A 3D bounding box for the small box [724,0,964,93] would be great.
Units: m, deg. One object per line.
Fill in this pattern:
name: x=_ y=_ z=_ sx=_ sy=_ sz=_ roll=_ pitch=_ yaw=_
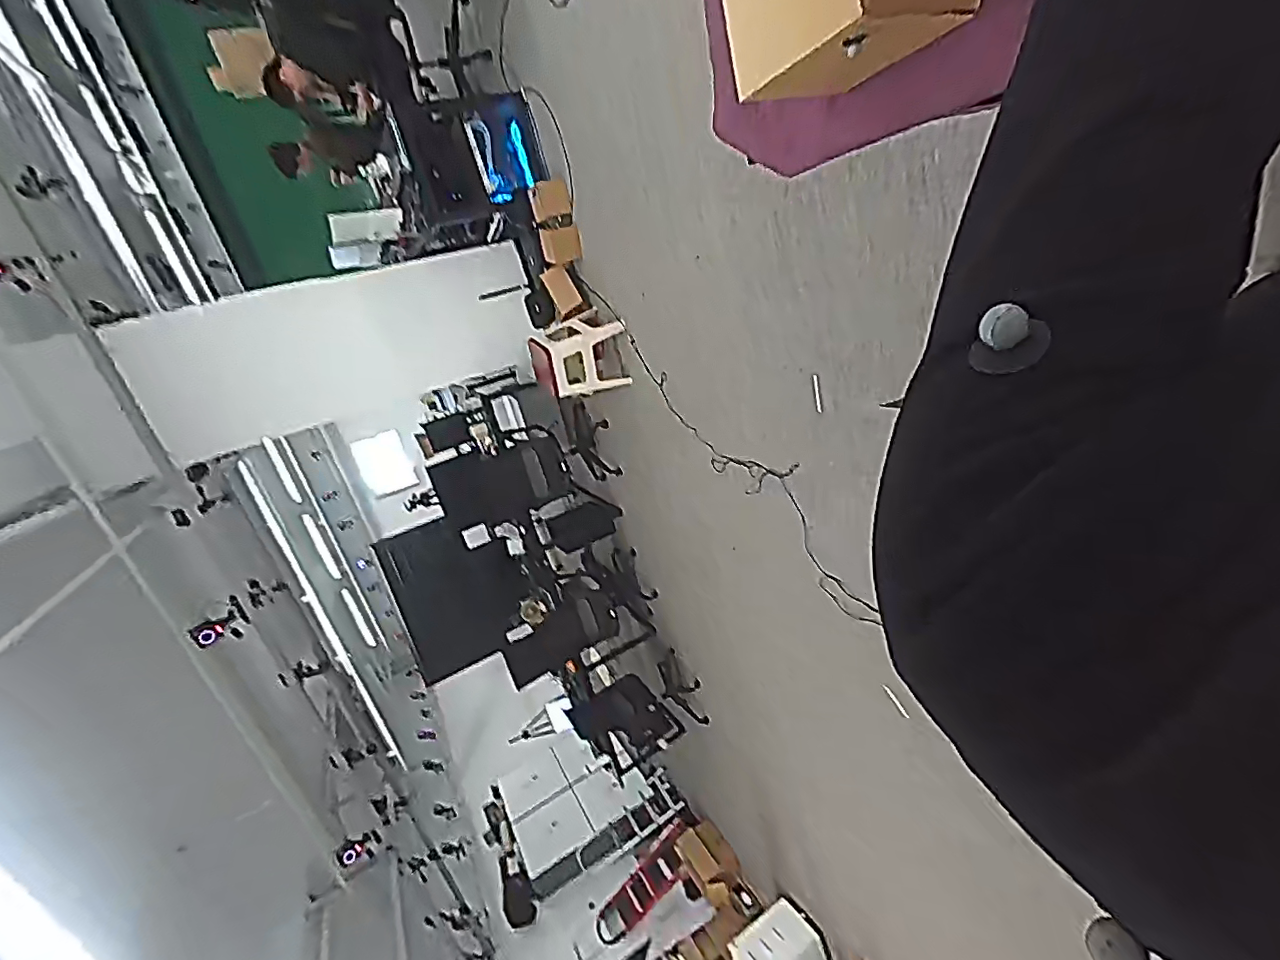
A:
small box: x=0.202 y=-0.526 z=0.548 sx=0.179 sy=0.176 sz=0.168 roll=18 pitch=128 yaw=61
